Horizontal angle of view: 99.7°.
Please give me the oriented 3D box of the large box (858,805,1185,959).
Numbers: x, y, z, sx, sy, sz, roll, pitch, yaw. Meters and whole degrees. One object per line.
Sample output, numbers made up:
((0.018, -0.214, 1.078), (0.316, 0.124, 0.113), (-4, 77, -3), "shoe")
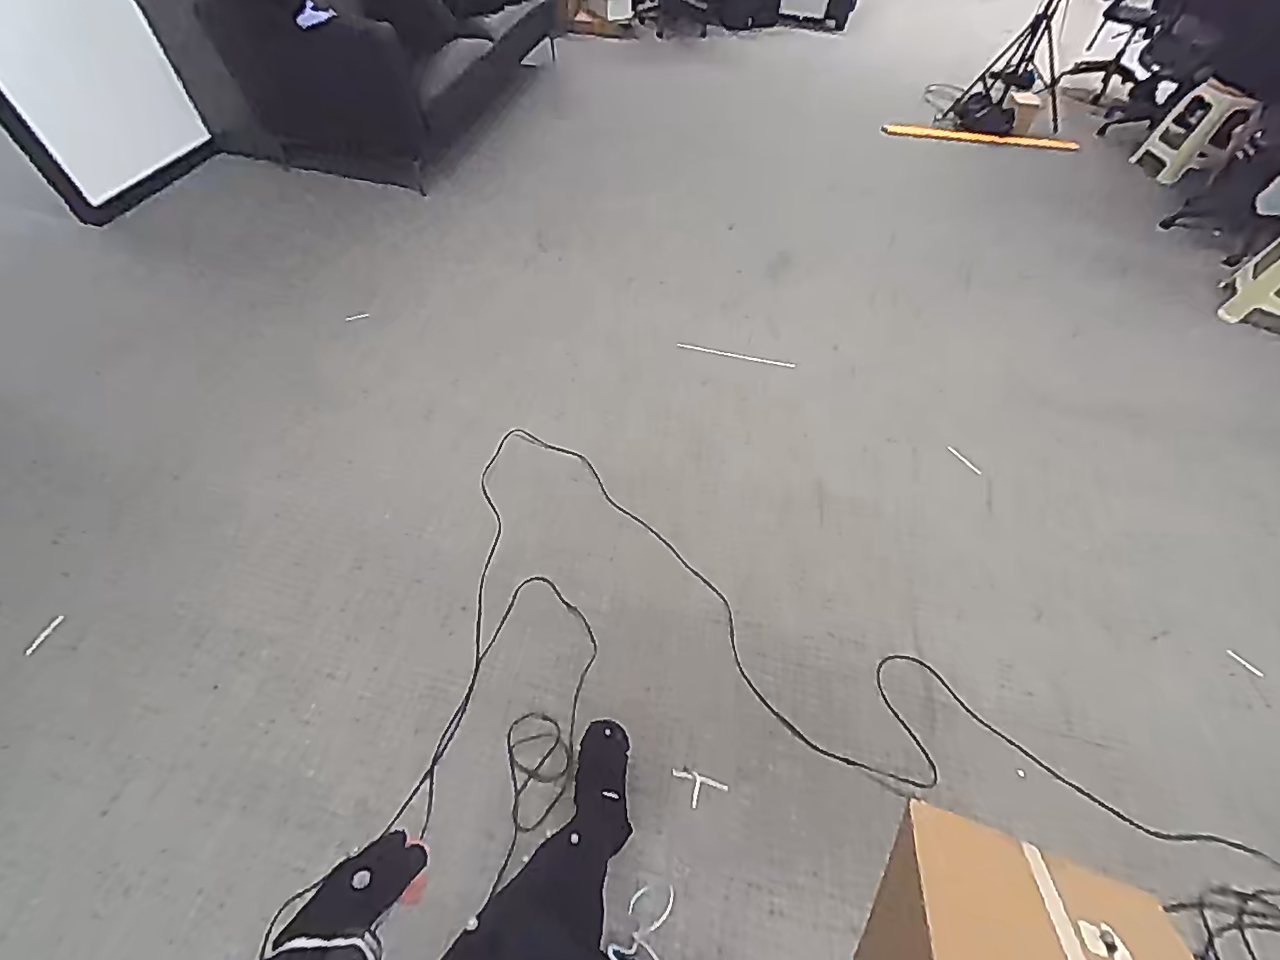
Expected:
((0.451, 0.700, 0.624), (0.320, 0.320, 0.408), (16, 13, 18), "large box")
